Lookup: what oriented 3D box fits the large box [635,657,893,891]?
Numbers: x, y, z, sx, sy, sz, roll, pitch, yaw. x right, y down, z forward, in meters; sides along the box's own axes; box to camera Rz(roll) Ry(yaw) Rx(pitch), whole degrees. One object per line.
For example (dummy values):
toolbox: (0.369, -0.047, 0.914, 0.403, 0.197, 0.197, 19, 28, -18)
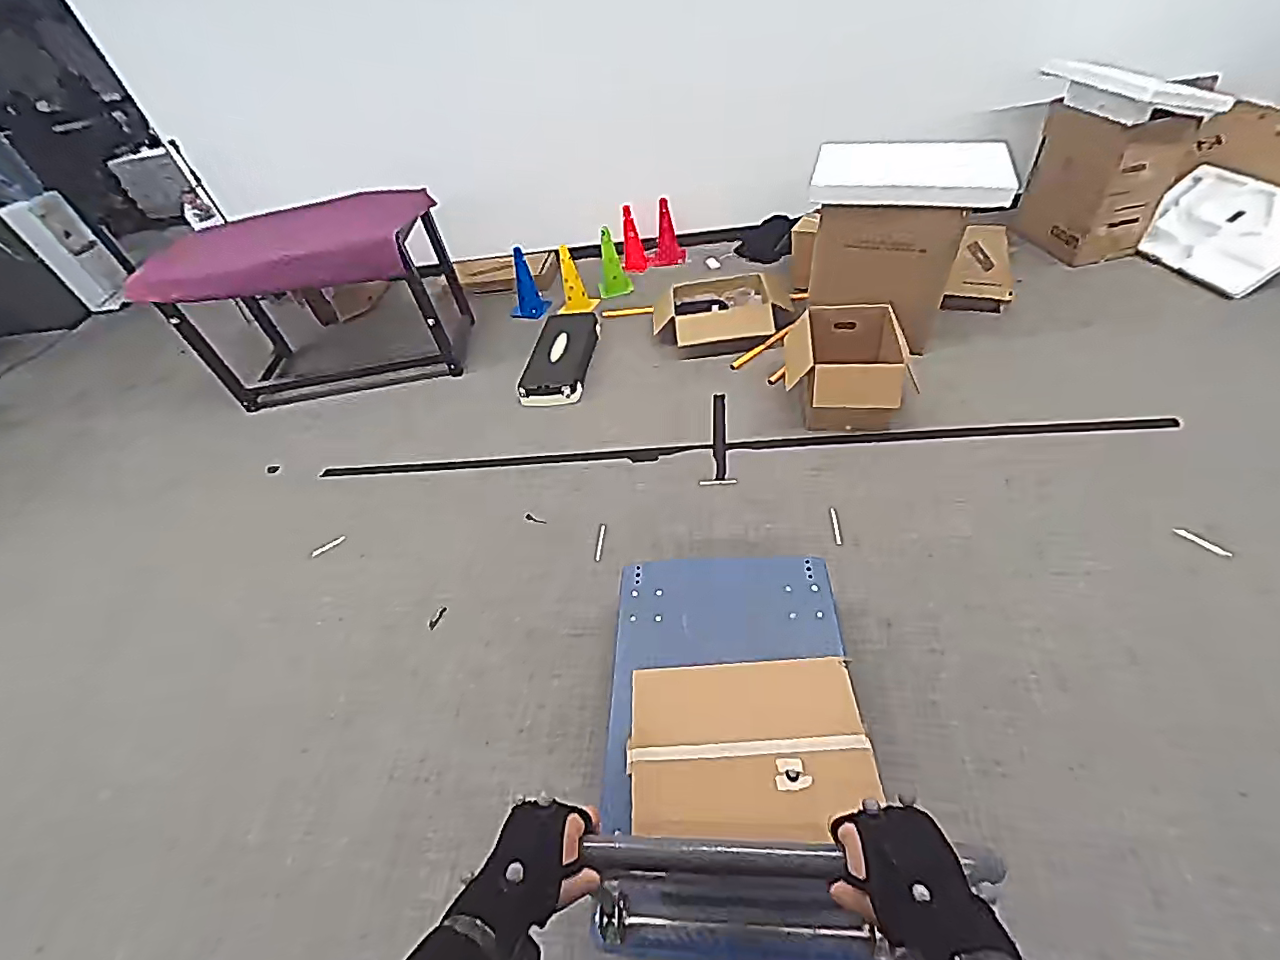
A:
large box: (0.207, 0.574, 1.048, 0.408, 0.320, 0.320, -6, 46, 4)
